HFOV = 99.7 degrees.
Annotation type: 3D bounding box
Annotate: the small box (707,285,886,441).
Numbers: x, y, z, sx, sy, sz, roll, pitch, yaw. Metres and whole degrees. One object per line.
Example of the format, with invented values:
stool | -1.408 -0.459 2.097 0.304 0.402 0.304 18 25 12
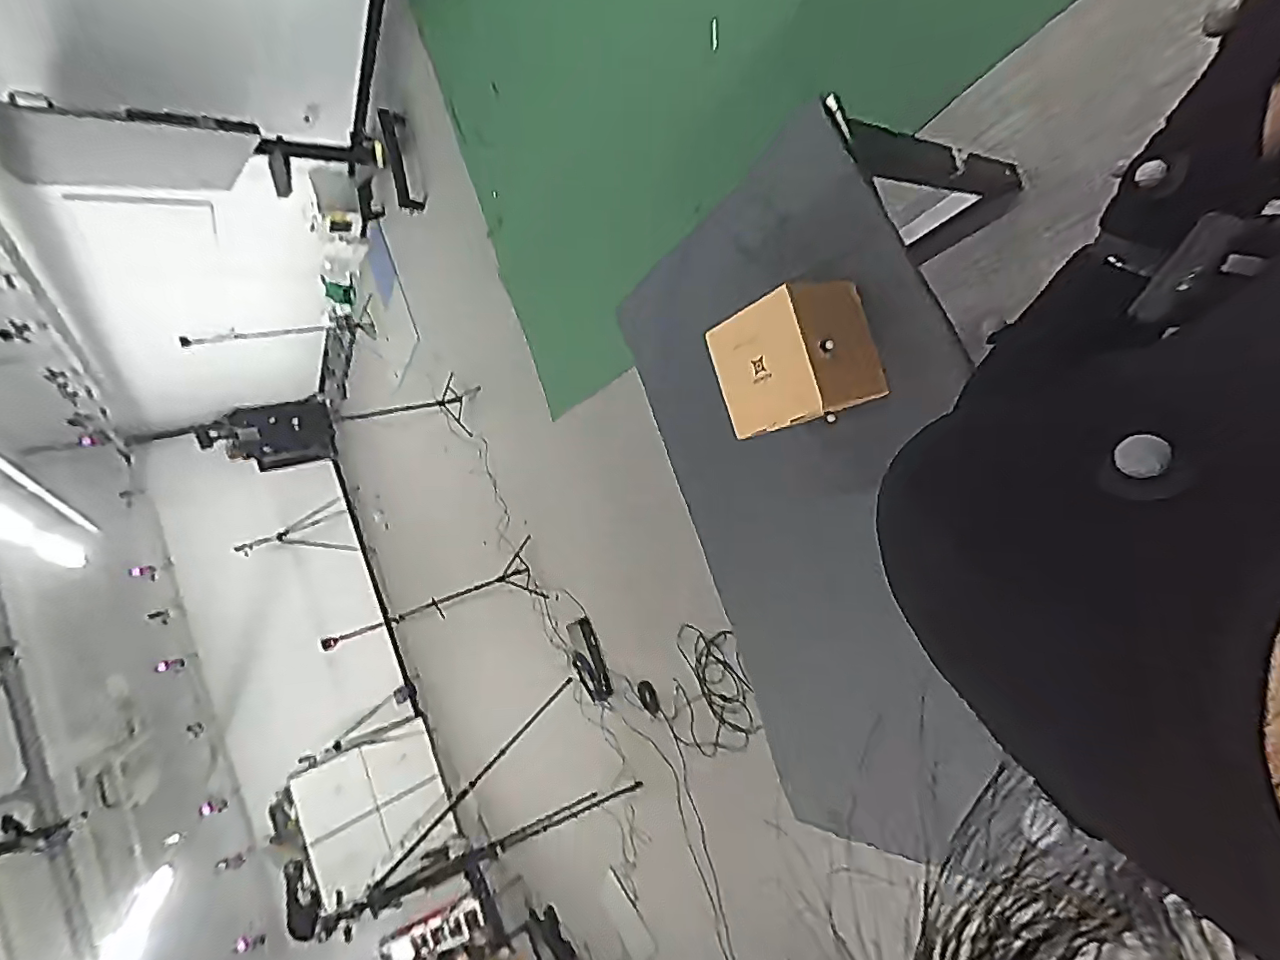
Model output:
small box | 0.234 -0.174 0.803 0.168 0.176 0.179 -19 87 54
